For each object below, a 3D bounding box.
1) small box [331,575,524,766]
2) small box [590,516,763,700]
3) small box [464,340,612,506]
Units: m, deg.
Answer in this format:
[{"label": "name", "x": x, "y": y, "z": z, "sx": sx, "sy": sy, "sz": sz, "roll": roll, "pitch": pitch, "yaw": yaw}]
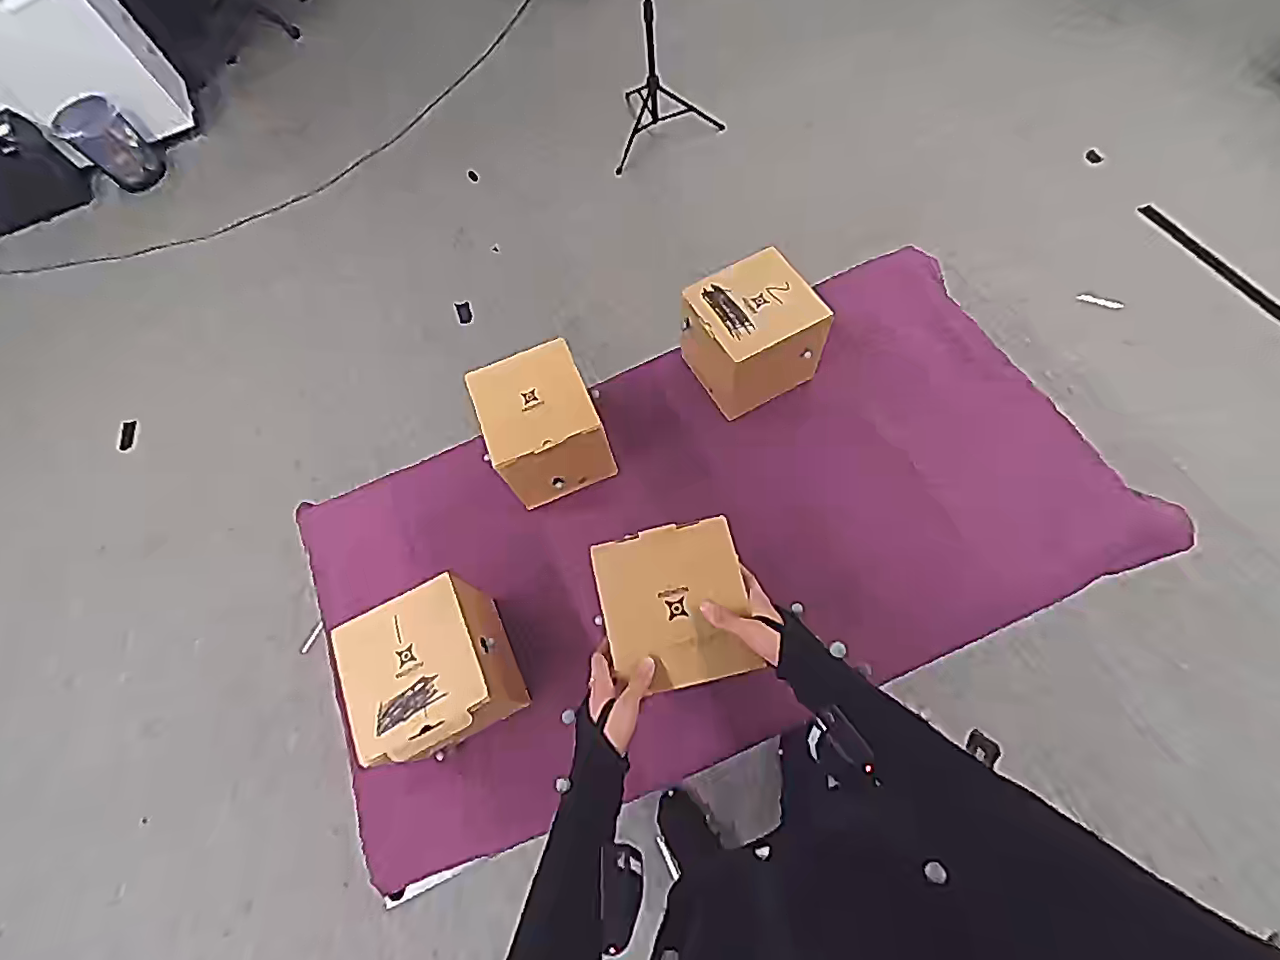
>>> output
[{"label": "small box", "x": -0.278, "y": 0.259, "z": 0.738, "sx": 0.168, "sy": 0.176, "sz": 0.179, "roll": -27, "pitch": 65, "yaw": -6}, {"label": "small box", "x": 0.038, "y": 0.161, "z": 0.683, "sx": 0.168, "sy": 0.176, "sz": 0.179, "roll": -13, "pitch": 75, "yaw": -2}, {"label": "small box", "x": -0.157, "y": -0.085, "z": 0.871, "sx": 0.168, "sy": 0.176, "sz": 0.179, "roll": -23, "pitch": 67, "yaw": -4}]
